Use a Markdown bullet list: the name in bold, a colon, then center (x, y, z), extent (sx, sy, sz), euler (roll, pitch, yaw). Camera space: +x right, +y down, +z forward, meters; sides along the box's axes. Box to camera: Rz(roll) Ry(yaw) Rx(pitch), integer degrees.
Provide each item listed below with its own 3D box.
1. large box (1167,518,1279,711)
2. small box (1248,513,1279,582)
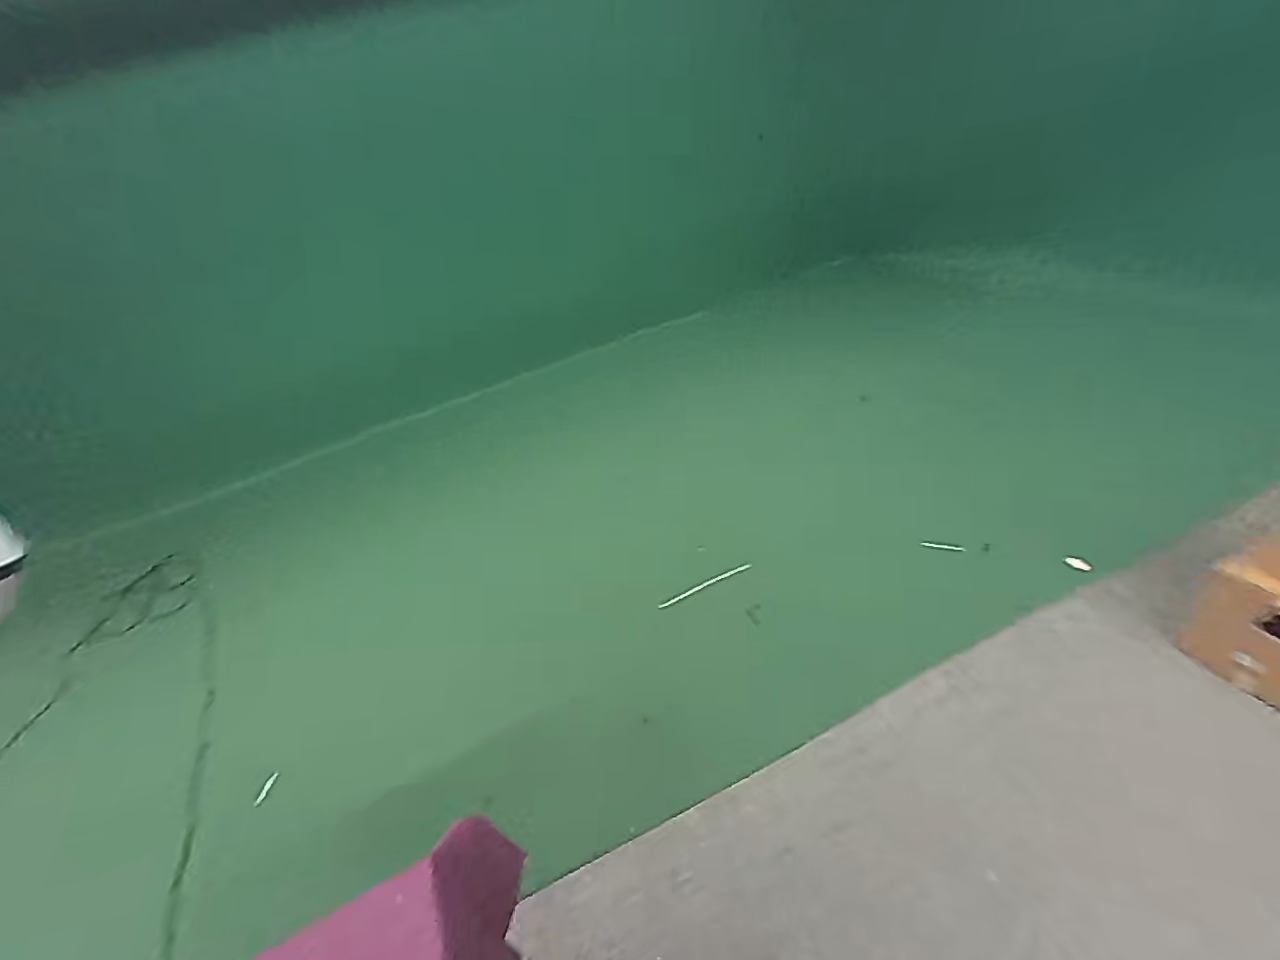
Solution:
- **large box**: center (1.633, 0.320, 1.318), extent (0.408, 0.320, 0.320), euler (-24, 37, -13)
- **small box**: center (1.511, 0.149, 1.175), extent (0.168, 0.176, 0.179), euler (-24, 36, -13)
